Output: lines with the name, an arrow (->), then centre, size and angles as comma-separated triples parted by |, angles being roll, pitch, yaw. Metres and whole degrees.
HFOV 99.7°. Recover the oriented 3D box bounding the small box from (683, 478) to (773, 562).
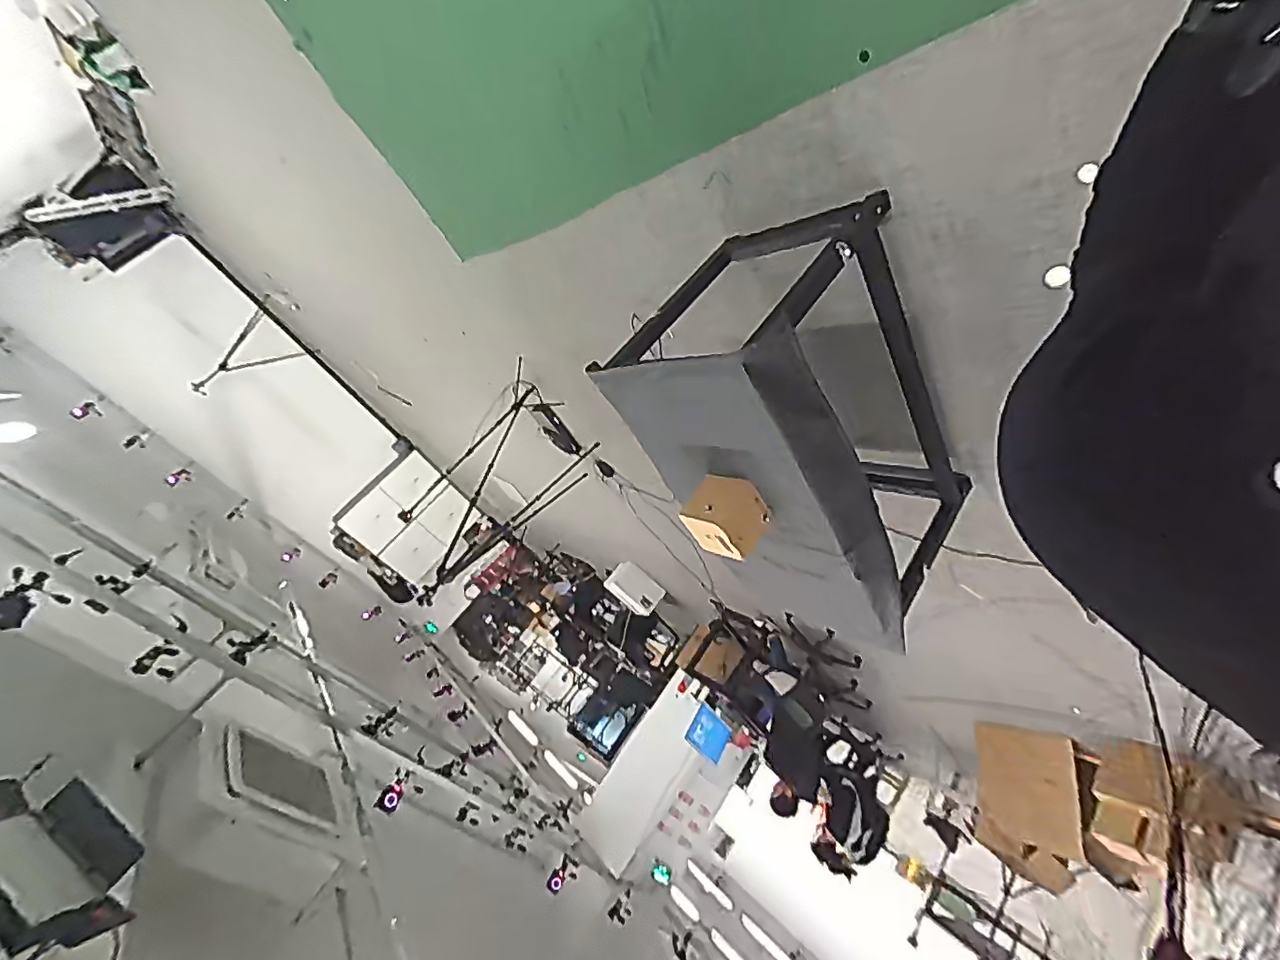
small box -> 0.266, 0.110, 1.585 | 0.179, 0.176, 0.168 | 13, 146, 53
